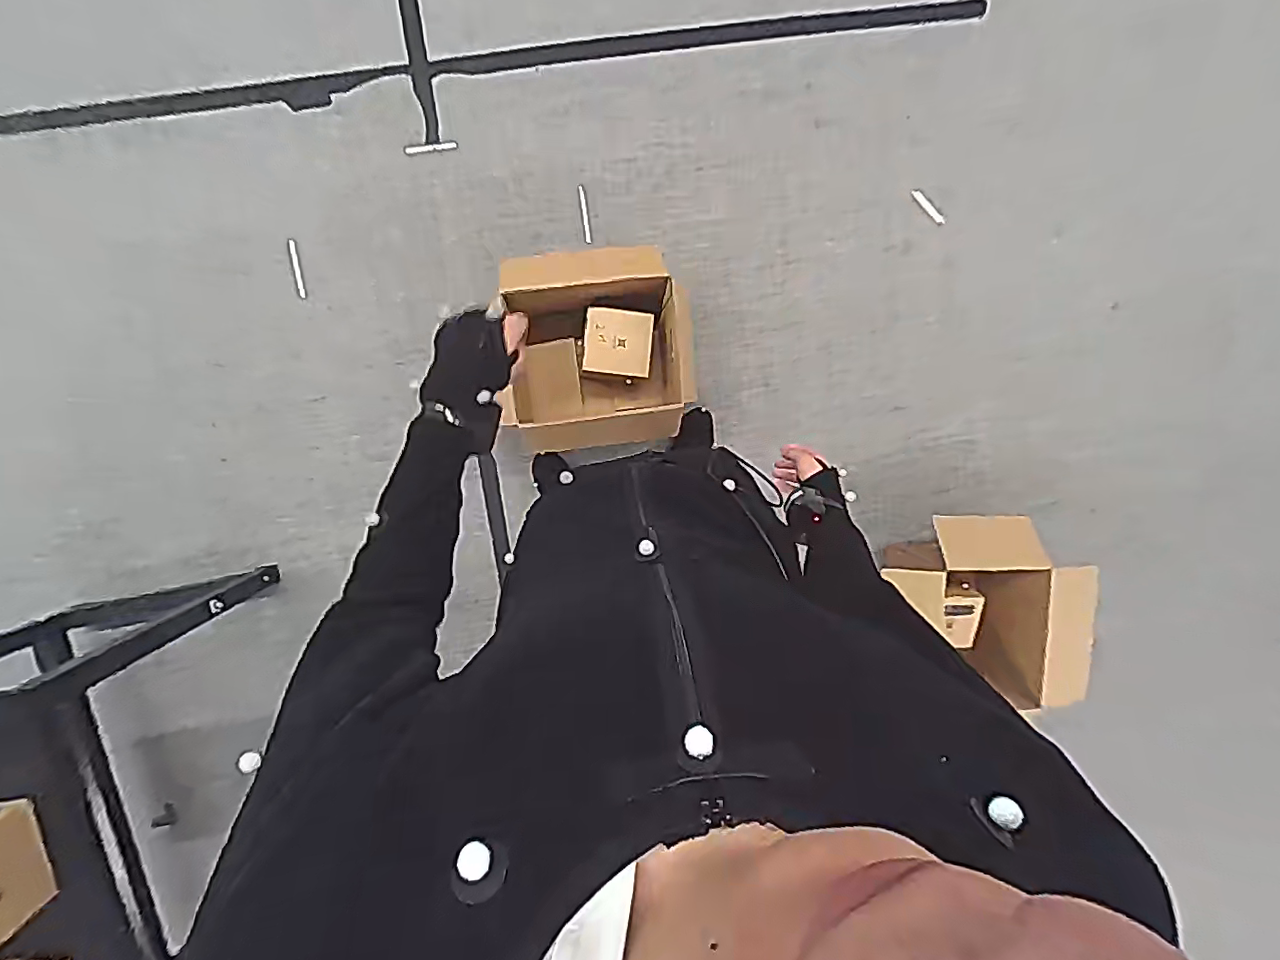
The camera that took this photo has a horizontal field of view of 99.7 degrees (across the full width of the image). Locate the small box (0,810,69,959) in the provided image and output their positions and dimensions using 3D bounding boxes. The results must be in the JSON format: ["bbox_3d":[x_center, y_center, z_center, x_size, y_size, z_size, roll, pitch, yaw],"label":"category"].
[{"bbox_3d":[-1.033,0.627,0.807,0.168,0.176,0.179,-8,99,-2],"label":"small box"}]
